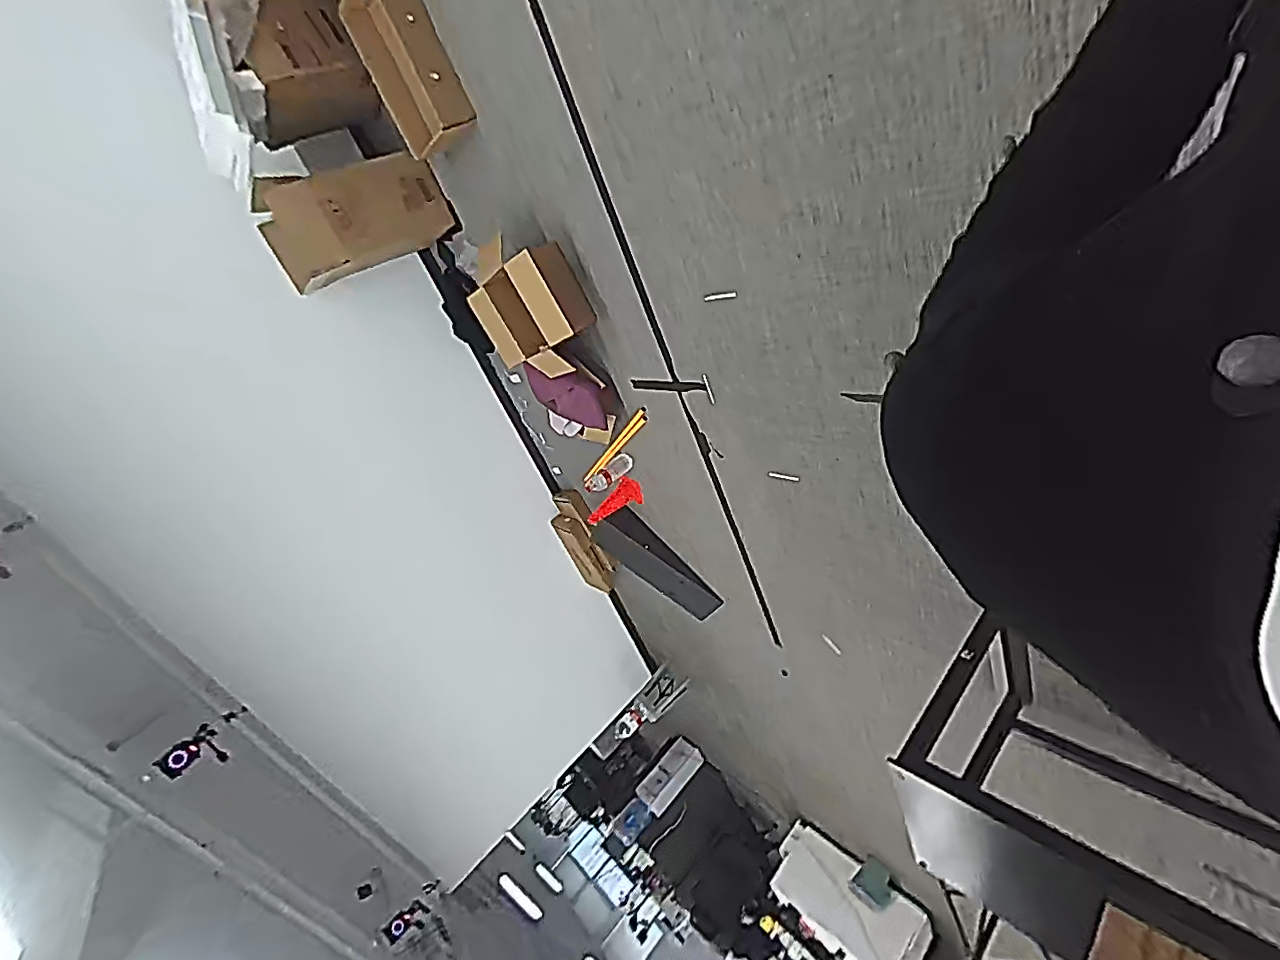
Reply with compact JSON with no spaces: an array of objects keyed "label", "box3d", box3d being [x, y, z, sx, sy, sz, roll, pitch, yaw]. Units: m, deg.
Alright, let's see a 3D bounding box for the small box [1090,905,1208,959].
[{"label":"small box","box3d":[1.076,1.061,1.138,0.179,0.176,0.168,7,131,53]}]
